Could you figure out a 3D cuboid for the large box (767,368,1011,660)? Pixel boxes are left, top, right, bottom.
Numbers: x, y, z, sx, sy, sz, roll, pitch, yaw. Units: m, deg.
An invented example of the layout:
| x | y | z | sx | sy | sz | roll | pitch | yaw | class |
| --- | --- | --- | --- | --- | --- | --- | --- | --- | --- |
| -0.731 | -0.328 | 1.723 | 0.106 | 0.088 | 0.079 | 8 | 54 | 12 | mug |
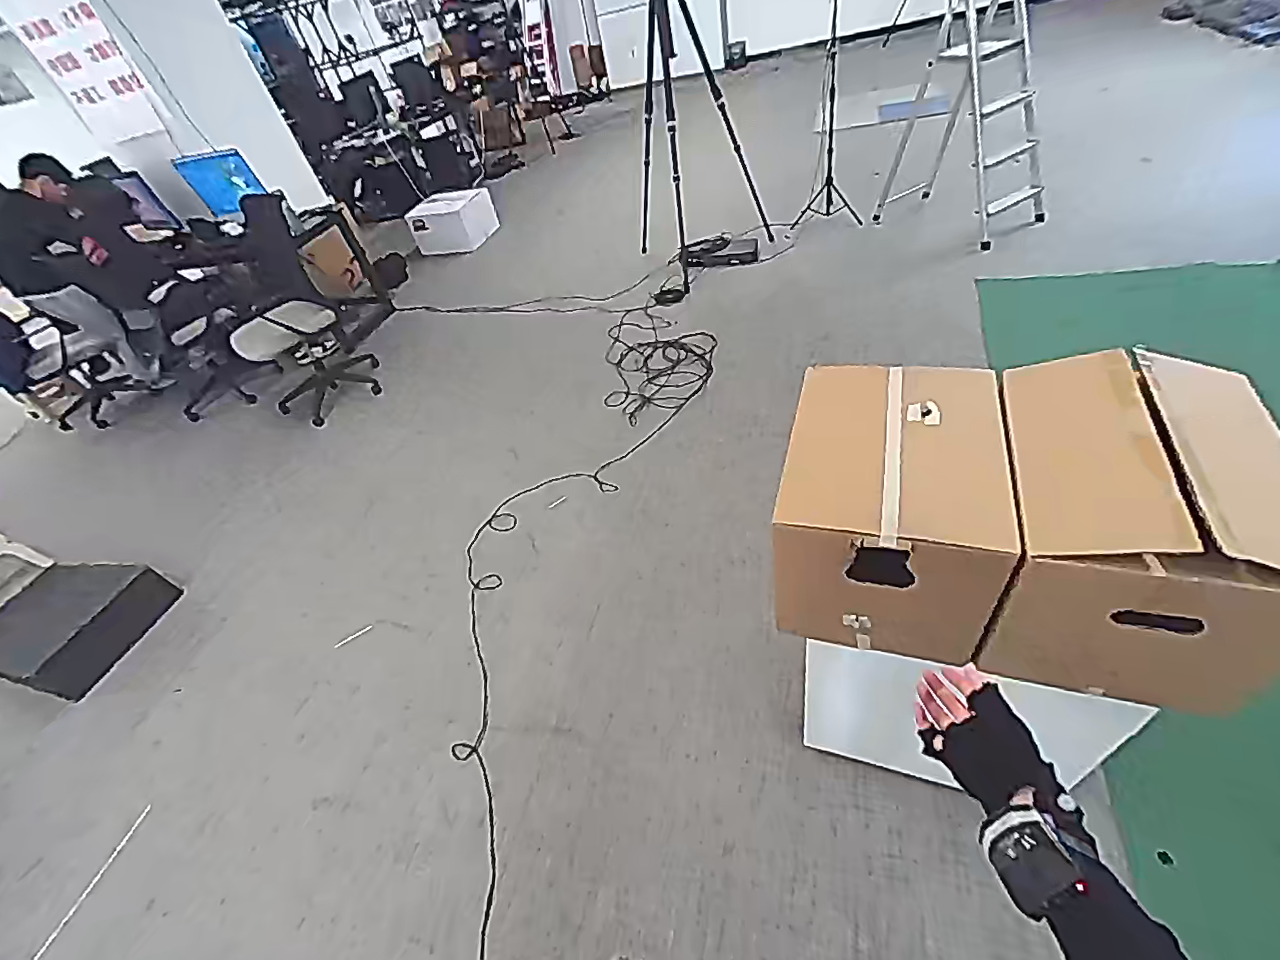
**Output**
| x | y | z | sx | sy | sz | roll | pitch | yaw | class |
| --- | --- | --- | --- | --- | --- | --- | --- | --- | --- |
| 0.419 | 0.045 | 0.960 | 0.320 | 0.320 | 0.408 | 6 | 47 | 22 | large box |
